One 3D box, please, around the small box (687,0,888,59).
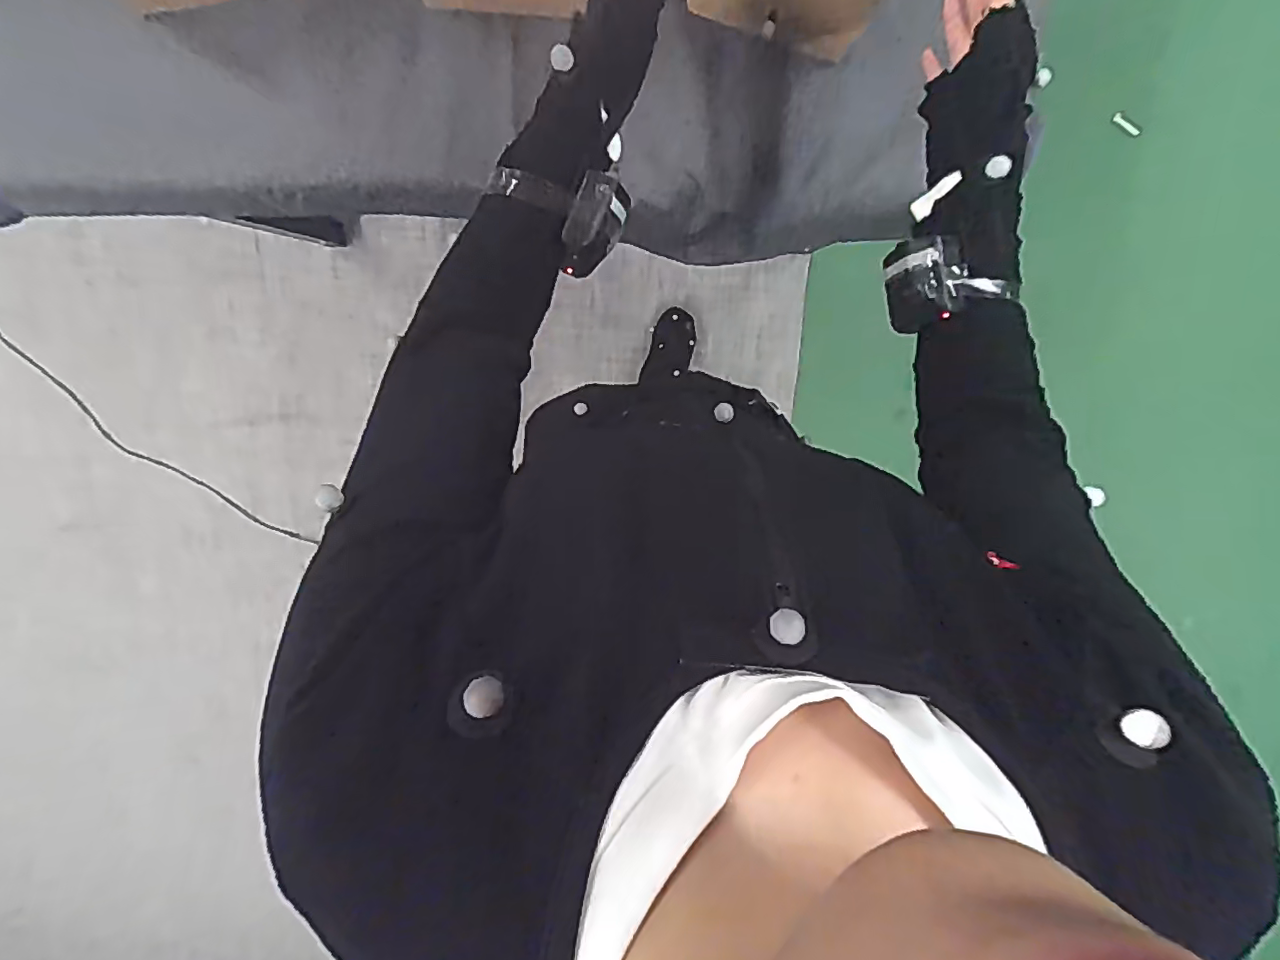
[{"bbox_3d":[0.153,-0.526,0.489,0.179,0.176,0.168,15,106,-5],"label":"small box"}]
